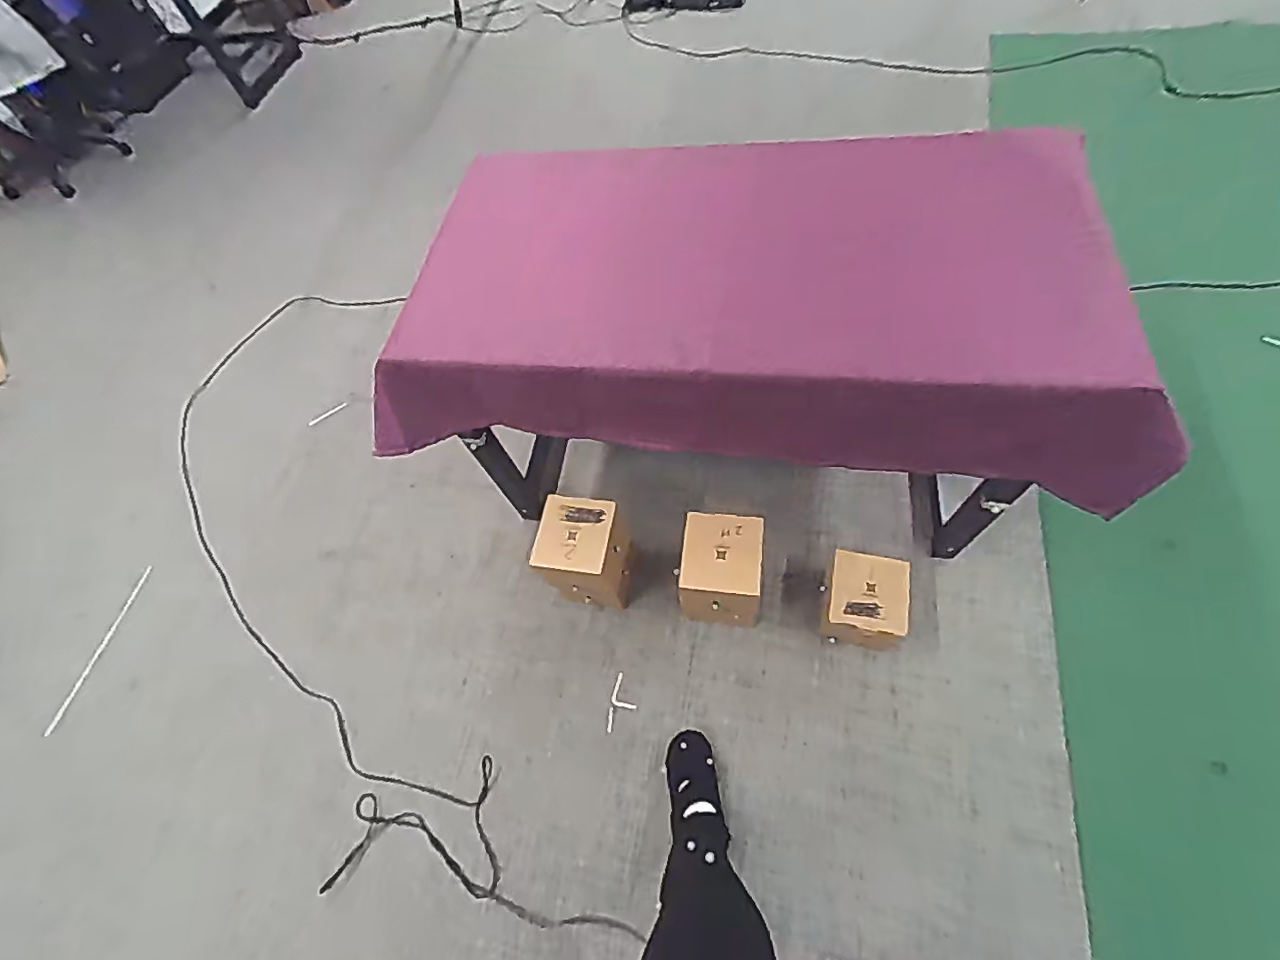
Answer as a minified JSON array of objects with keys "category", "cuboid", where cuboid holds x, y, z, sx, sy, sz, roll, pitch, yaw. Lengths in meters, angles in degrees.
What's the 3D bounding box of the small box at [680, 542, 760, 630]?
[{"category":"small box","cuboid":[0.204,0.270,1.358,0.179,0.176,0.168,5,63,12]}]
